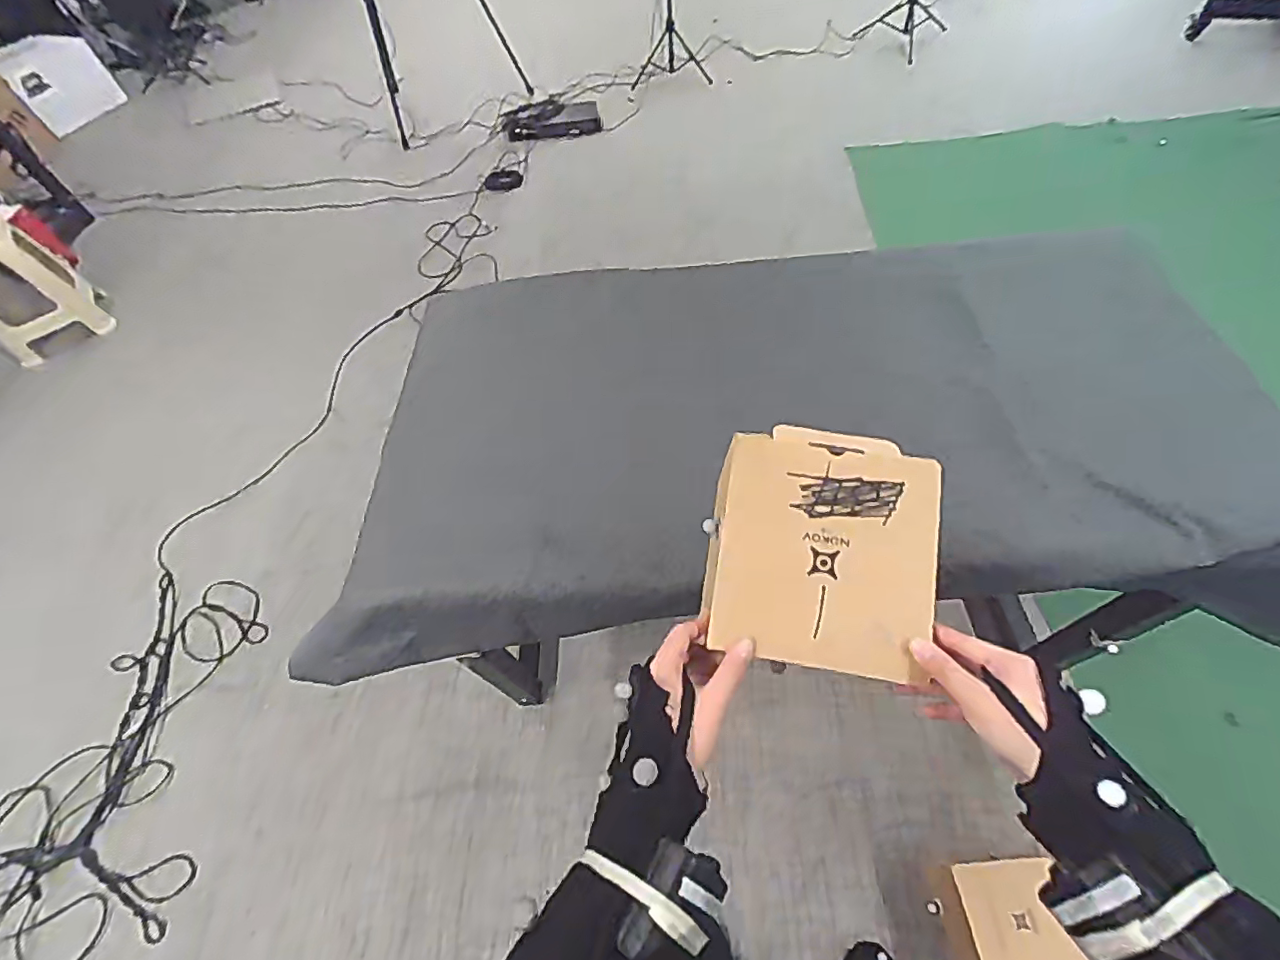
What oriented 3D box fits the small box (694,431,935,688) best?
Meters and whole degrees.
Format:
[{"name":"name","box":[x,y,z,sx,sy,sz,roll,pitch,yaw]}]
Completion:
[{"name":"small box","box":[0.143,0.074,0.492,0.168,0.176,0.179,8,77,6]}]

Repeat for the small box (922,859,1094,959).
[{"name":"small box","box":[0.625,0.762,0.934,0.179,0.176,0.168,-6,56,3]}]
